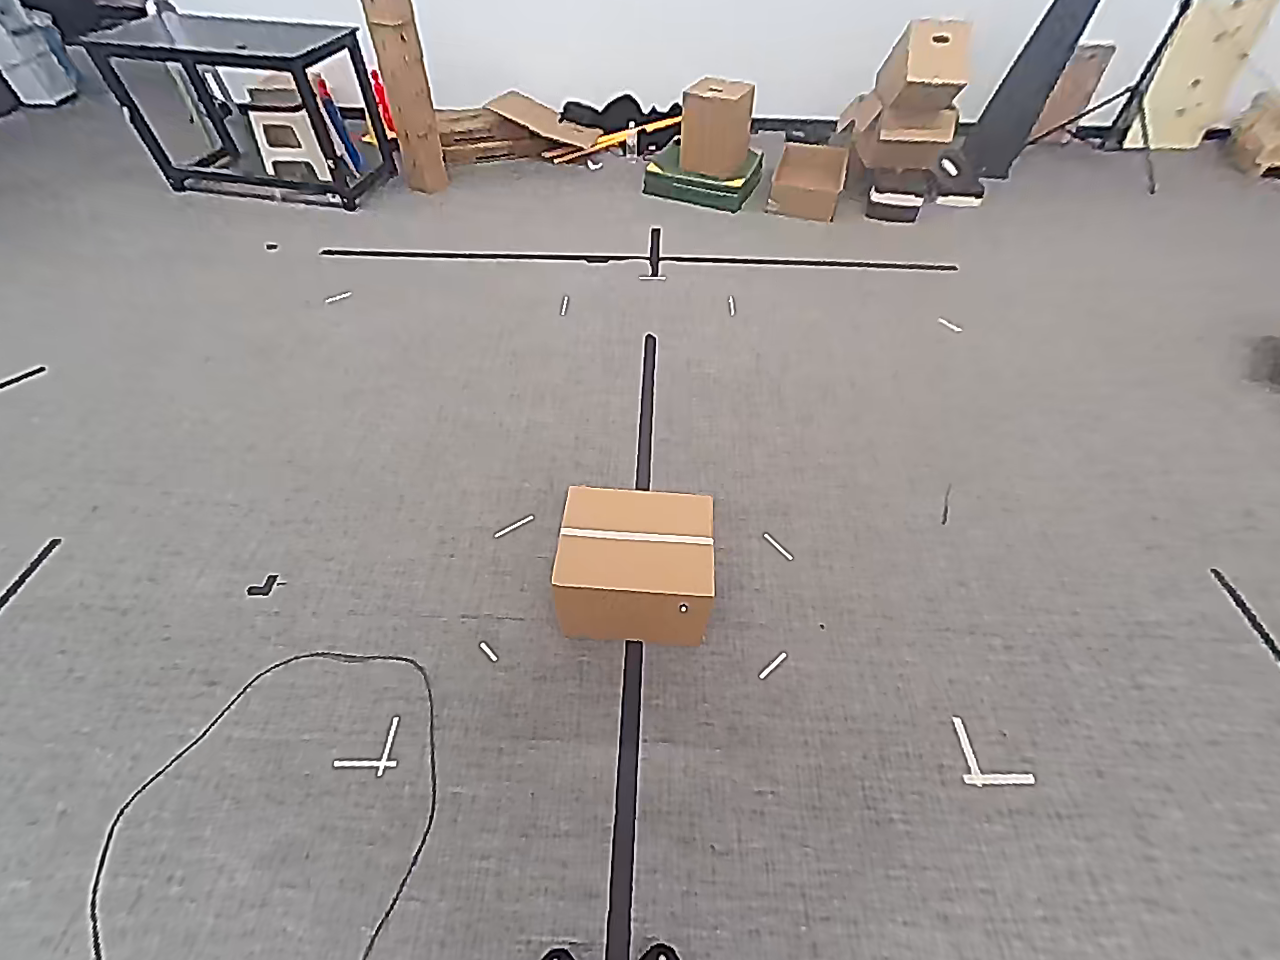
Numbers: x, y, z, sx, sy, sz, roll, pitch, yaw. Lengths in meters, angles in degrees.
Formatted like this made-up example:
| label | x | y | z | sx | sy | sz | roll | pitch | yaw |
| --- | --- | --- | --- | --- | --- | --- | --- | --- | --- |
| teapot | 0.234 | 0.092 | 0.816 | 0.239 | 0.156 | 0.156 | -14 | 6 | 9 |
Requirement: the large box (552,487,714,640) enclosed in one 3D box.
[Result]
| label | x | y | z | sx | sy | sz | roll | pitch | yaw |
| --- | --- | --- | --- | --- | --- | --- | --- | --- | --- |
| large box | -0.012 | 0.241 | 1.525 | 0.408 | 0.320 | 0.320 | 4 | 51 | 1 |
